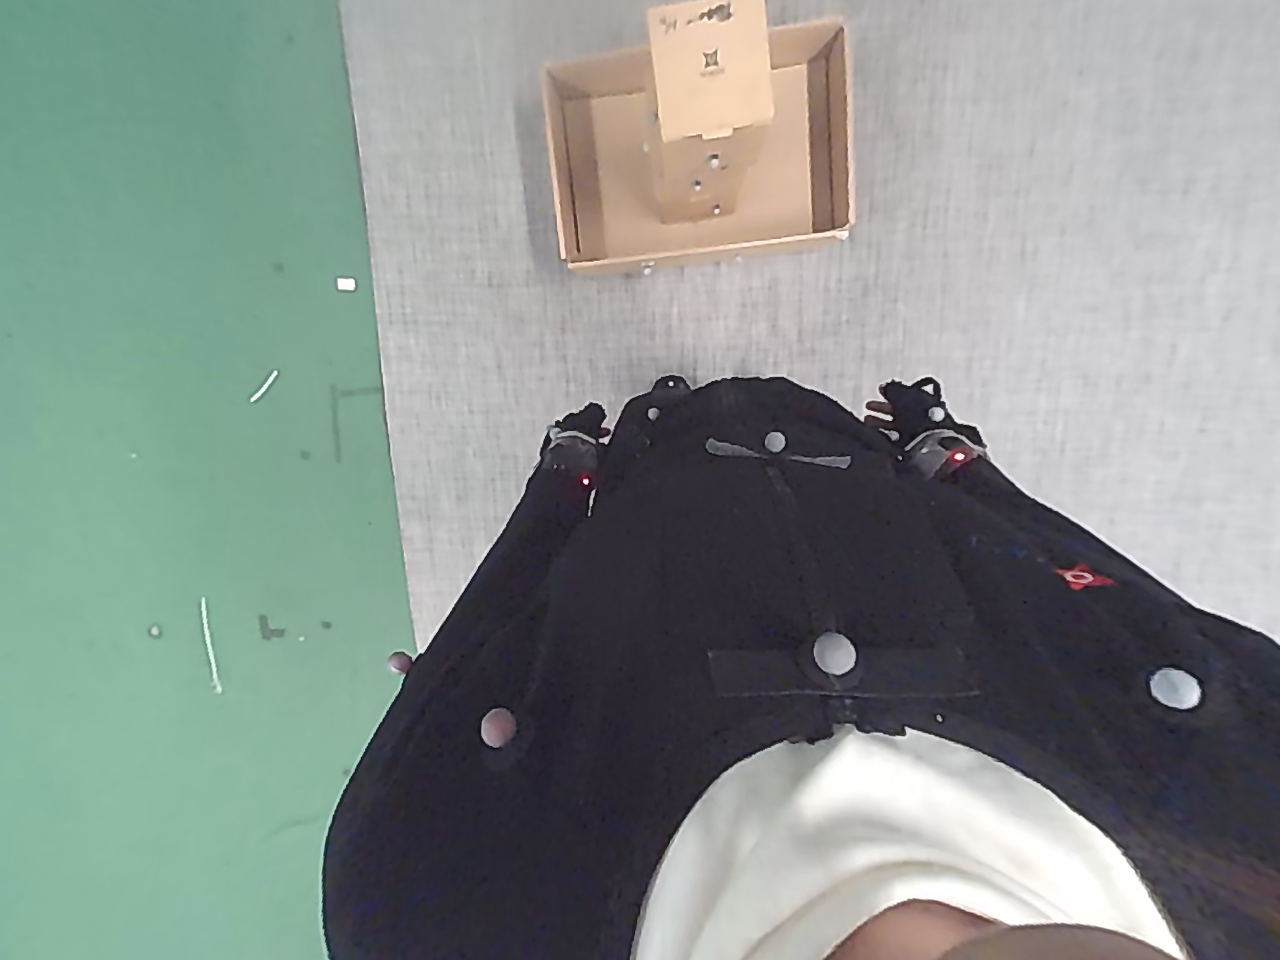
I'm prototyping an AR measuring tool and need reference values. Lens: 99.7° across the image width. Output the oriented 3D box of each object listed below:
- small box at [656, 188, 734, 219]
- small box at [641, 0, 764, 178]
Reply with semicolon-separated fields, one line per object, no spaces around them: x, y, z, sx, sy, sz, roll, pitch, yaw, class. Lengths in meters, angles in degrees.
0.114;-0.684;1.175;0.168;0.176;0.179;-5;99;5;small box
0.102;-0.614;0.875;0.168;0.176;0.179;-8;100;7;small box
